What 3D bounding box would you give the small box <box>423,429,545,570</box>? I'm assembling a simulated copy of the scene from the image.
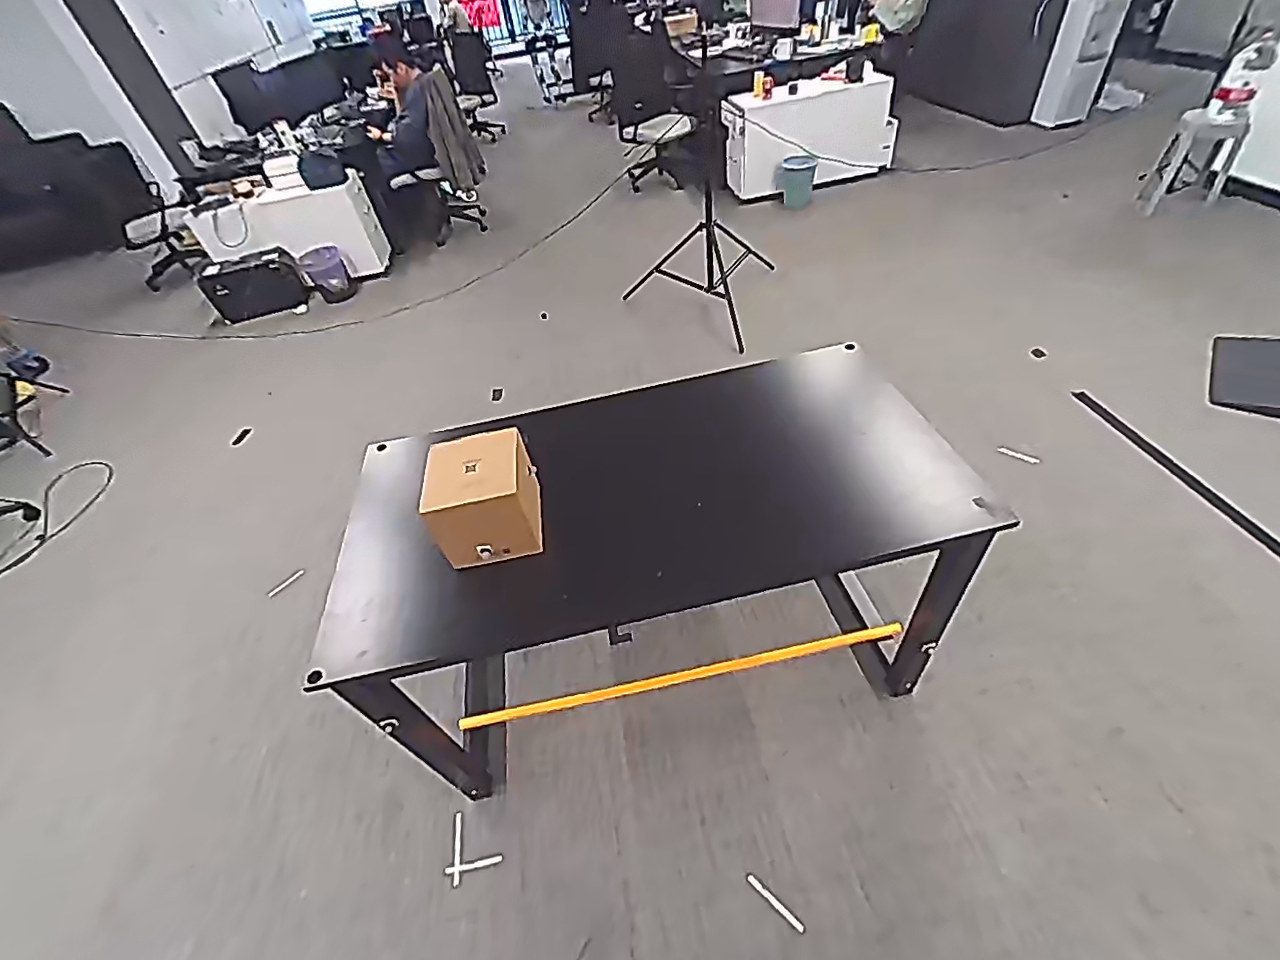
[{"bbox_3d":[-0.277,0.037,0.996,0.168,0.176,0.179,-13,46,-1],"label":"small box"}]
